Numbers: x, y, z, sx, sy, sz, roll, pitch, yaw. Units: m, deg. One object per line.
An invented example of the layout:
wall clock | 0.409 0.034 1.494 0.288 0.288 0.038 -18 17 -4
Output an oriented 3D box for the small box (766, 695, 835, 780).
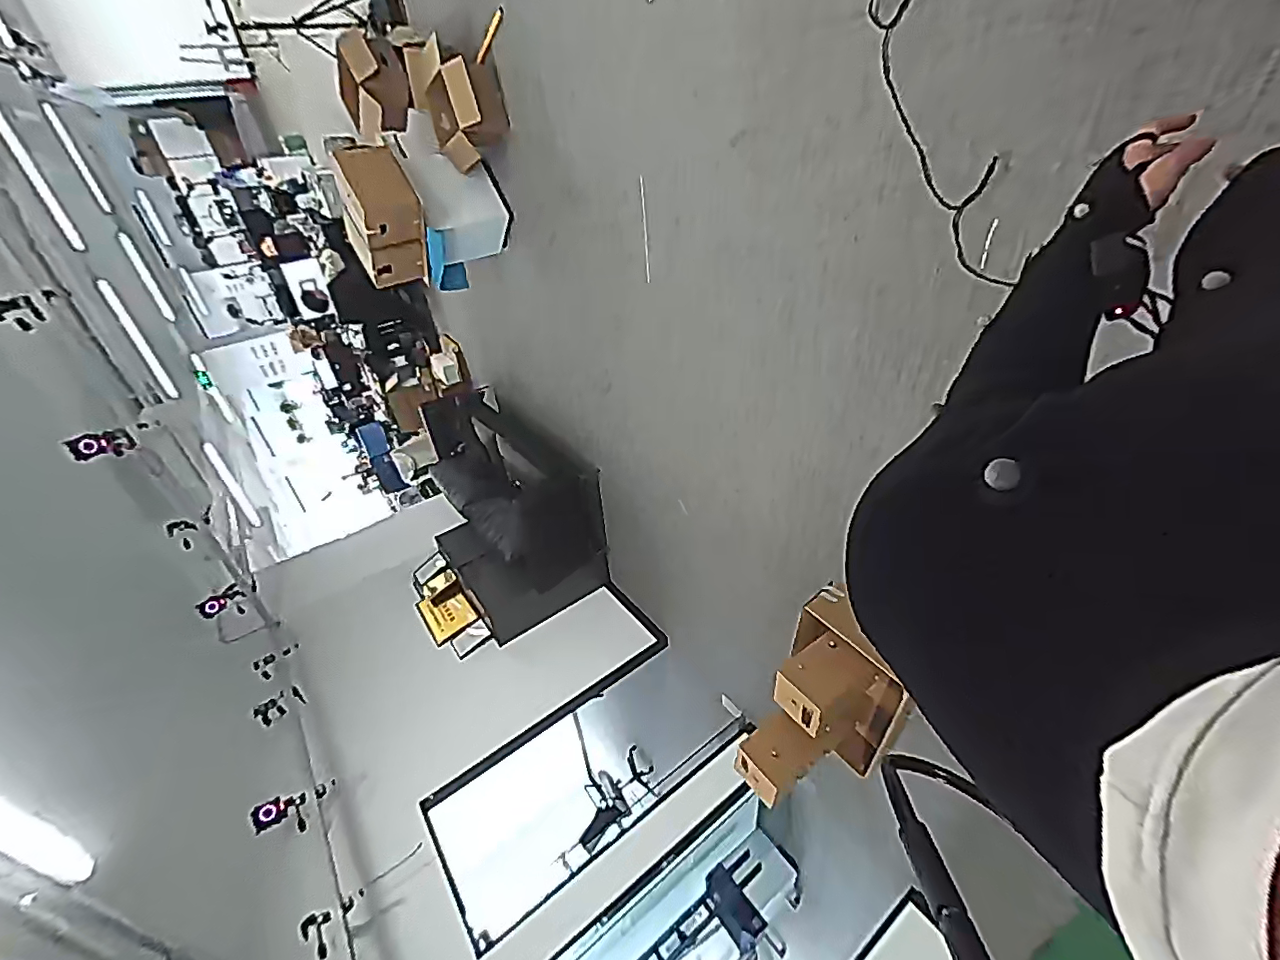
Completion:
small box | 0.555 0.896 1.896 0.179 0.176 0.168 38 142 37

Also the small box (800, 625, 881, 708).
small box | 0.667 0.612 1.806 0.179 0.176 0.168 36 143 40

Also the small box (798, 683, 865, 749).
small box | 0.685 0.830 1.971 0.179 0.176 0.168 41 144 38

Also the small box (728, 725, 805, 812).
small box | 0.423 0.960 1.819 0.179 0.176 0.168 38 142 38
